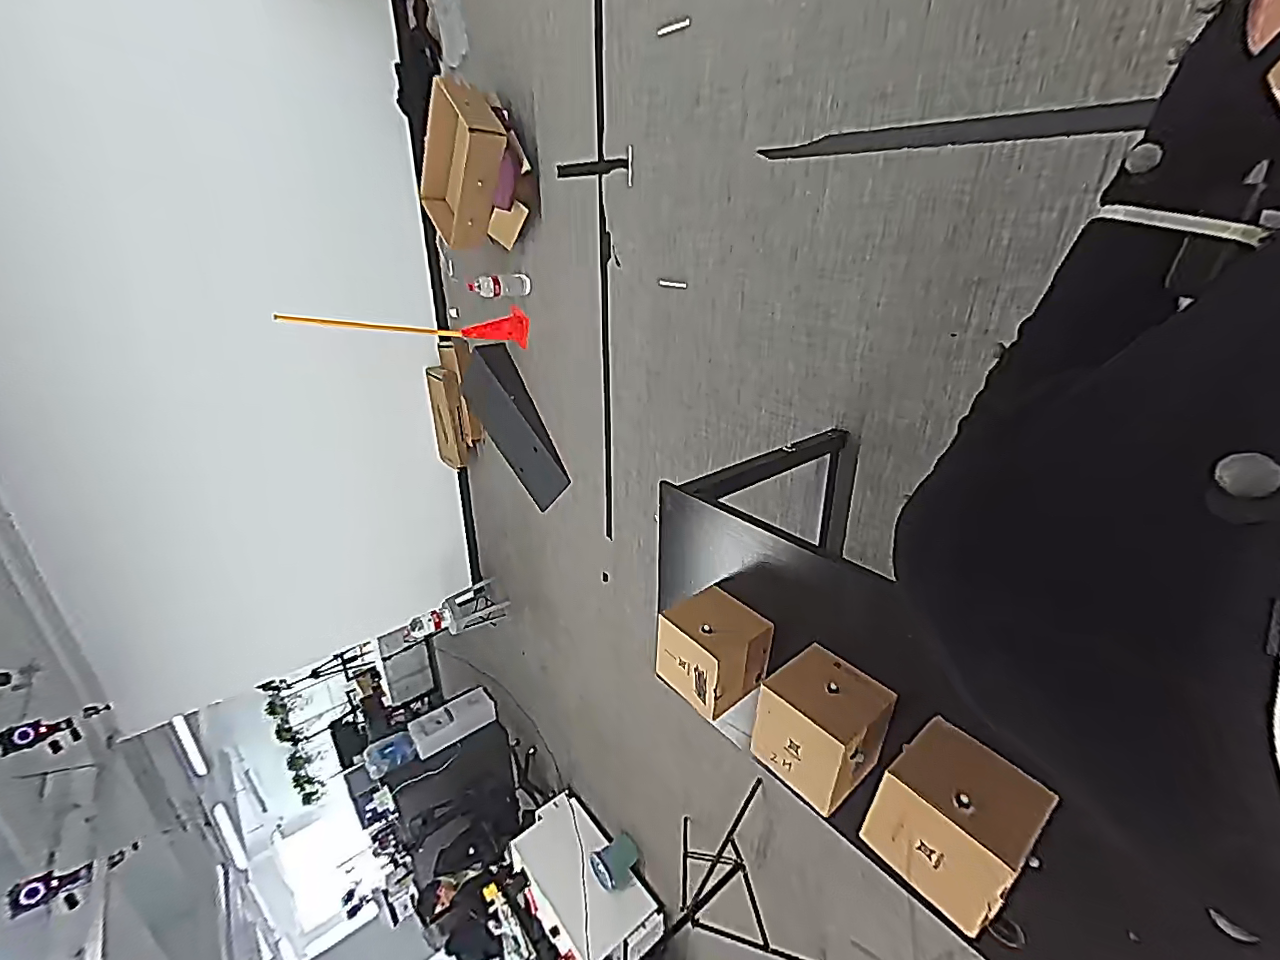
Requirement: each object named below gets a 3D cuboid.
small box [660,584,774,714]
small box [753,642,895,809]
[{"bbox_3d":[0.163,0.348,1.155,0.179,0.176,0.168,30,127,44],"label":"small box"},{"bbox_3d":[0.330,0.426,0.970,0.168,0.176,0.179,29,127,44],"label":"small box"}]
